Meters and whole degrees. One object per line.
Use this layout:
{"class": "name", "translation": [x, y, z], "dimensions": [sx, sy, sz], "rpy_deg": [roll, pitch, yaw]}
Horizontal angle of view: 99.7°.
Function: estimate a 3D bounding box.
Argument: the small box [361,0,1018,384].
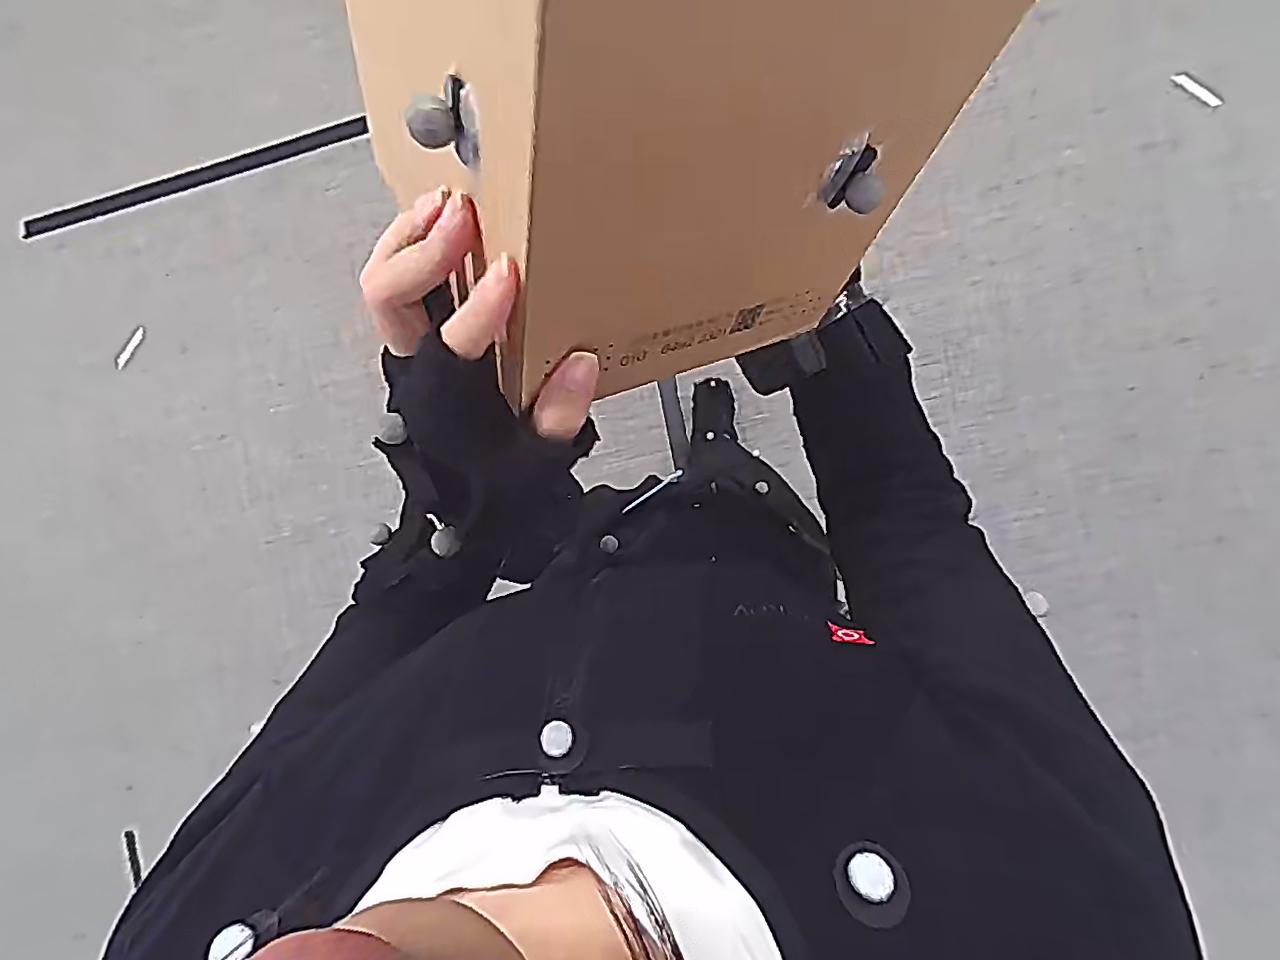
{"class": "small box", "translation": [0.000, -0.159, 0.214], "dimensions": [0.168, 0.176, 0.179], "rpy_deg": [-22, 68, -26]}
